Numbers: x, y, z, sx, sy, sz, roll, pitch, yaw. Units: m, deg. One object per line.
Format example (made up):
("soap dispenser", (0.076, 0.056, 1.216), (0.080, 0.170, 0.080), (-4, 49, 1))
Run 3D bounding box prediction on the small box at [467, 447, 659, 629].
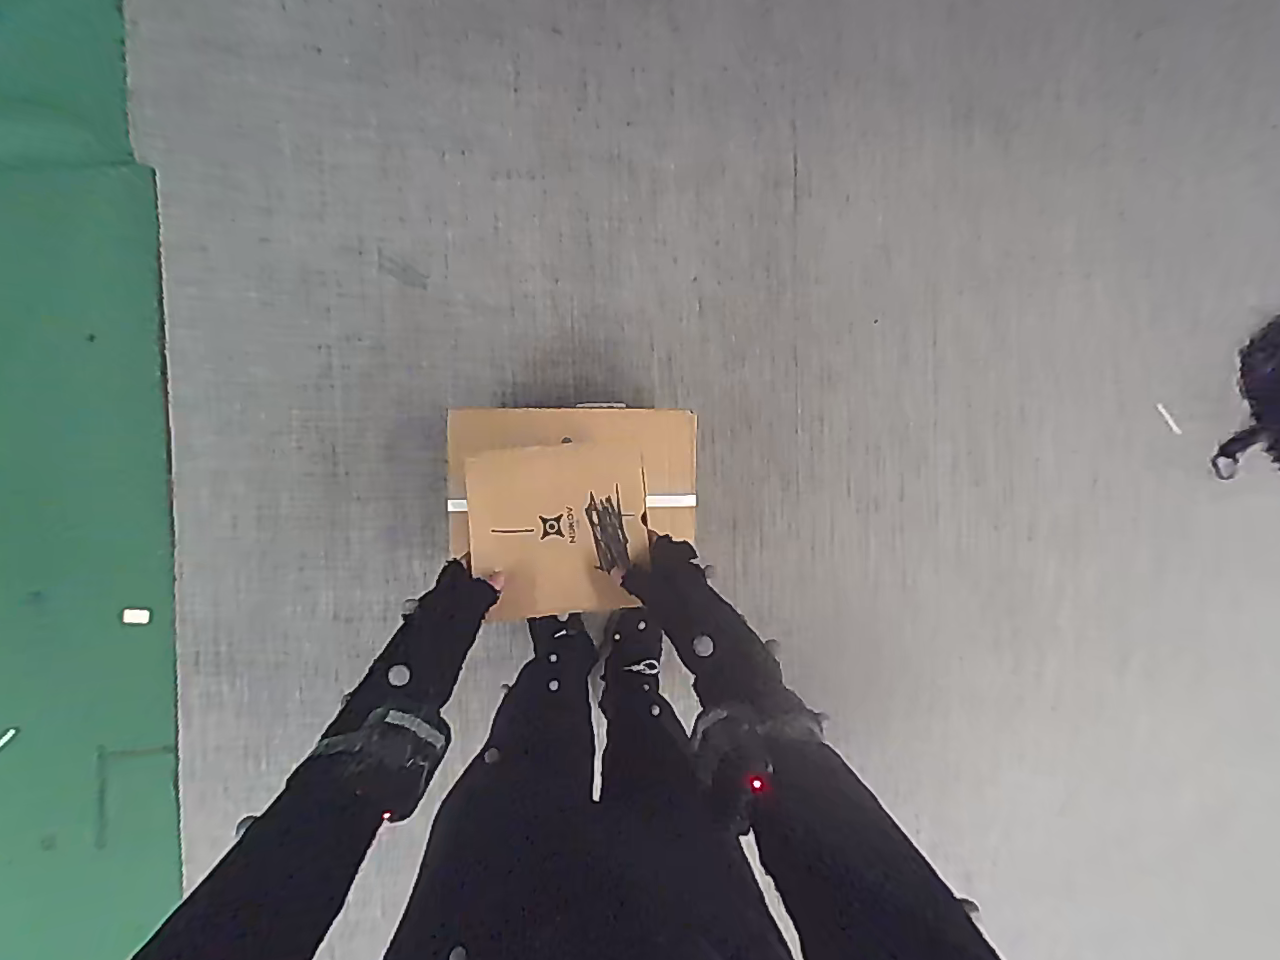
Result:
("small box", (-0.081, 0.061, 0.599), (0.179, 0.176, 0.168), (-5, 84, -5))
